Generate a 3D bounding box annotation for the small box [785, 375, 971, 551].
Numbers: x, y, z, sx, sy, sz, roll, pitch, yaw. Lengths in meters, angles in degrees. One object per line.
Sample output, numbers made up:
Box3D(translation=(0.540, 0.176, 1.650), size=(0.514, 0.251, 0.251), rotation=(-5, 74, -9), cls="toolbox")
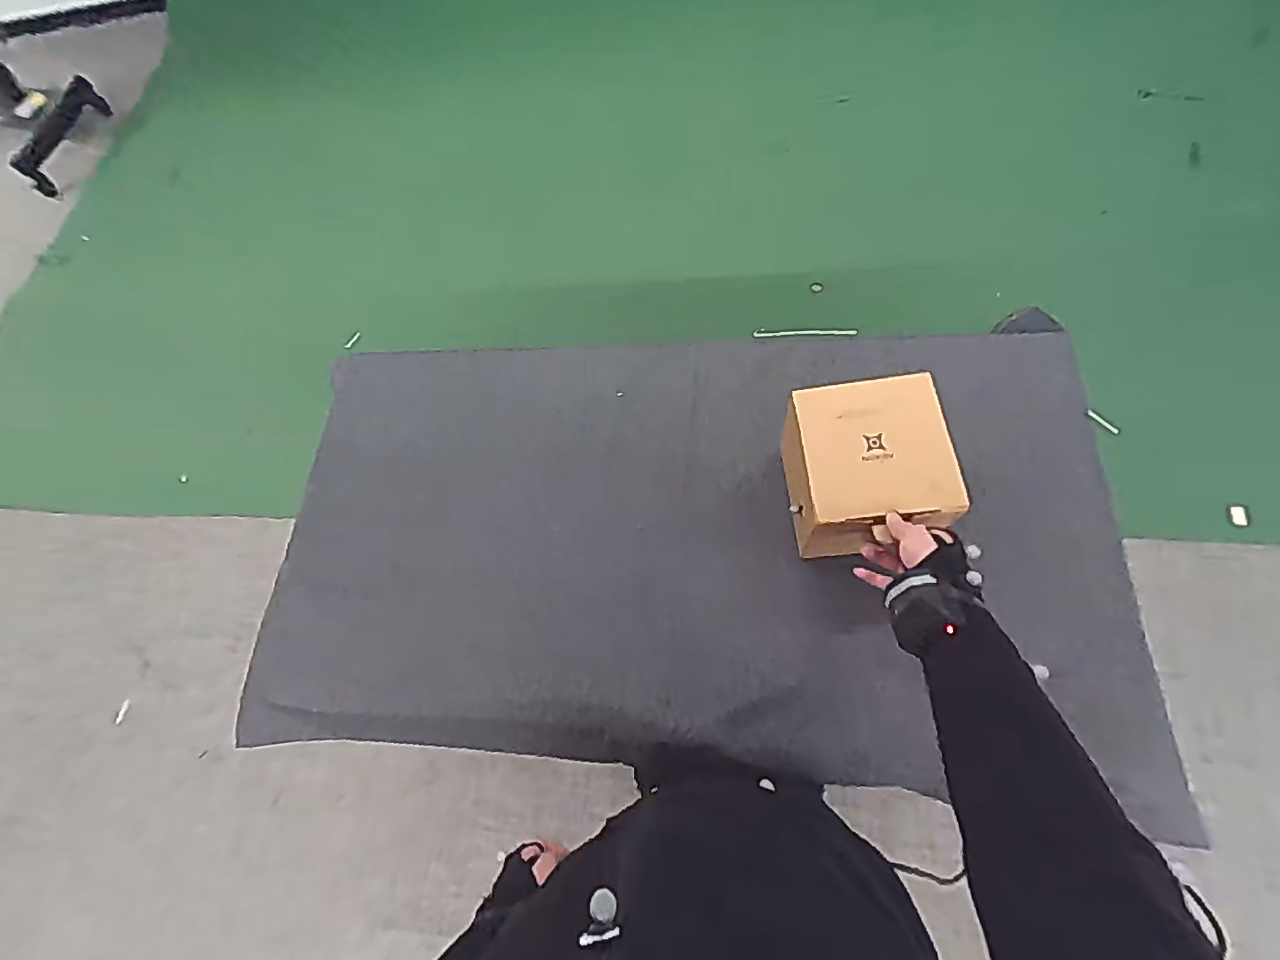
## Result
Box3D(translation=(0.291, -0.010, 0.705), size=(0.168, 0.176, 0.179), rotation=(-6, 67, 6), cls="small box")
